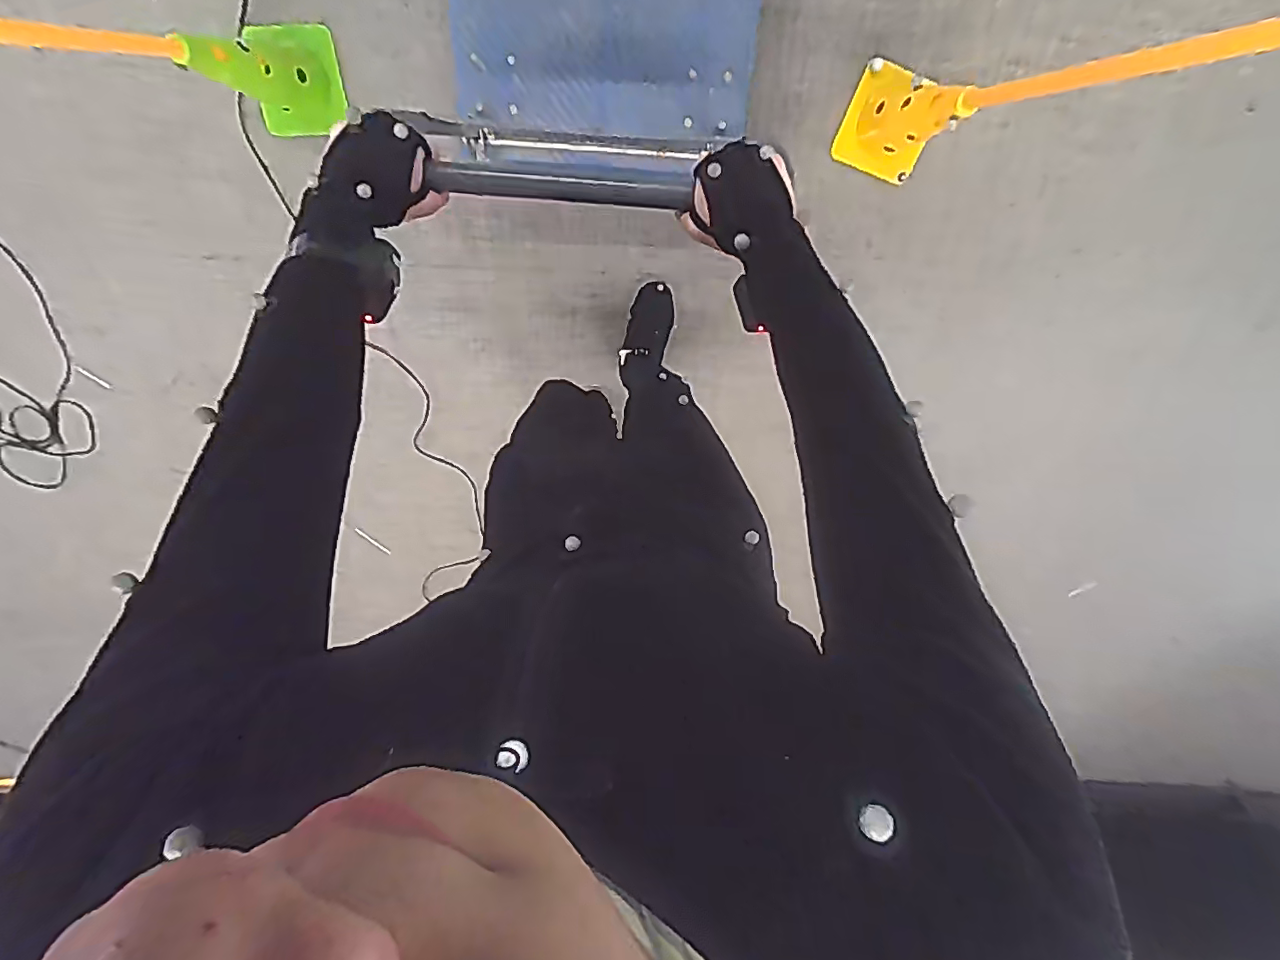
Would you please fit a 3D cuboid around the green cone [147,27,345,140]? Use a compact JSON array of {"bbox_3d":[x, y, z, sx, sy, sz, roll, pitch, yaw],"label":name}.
[{"bbox_3d":[-0.777,-0.791,1.043,0.202,0.368,0.200,0,118,3],"label":"green cone"}]
